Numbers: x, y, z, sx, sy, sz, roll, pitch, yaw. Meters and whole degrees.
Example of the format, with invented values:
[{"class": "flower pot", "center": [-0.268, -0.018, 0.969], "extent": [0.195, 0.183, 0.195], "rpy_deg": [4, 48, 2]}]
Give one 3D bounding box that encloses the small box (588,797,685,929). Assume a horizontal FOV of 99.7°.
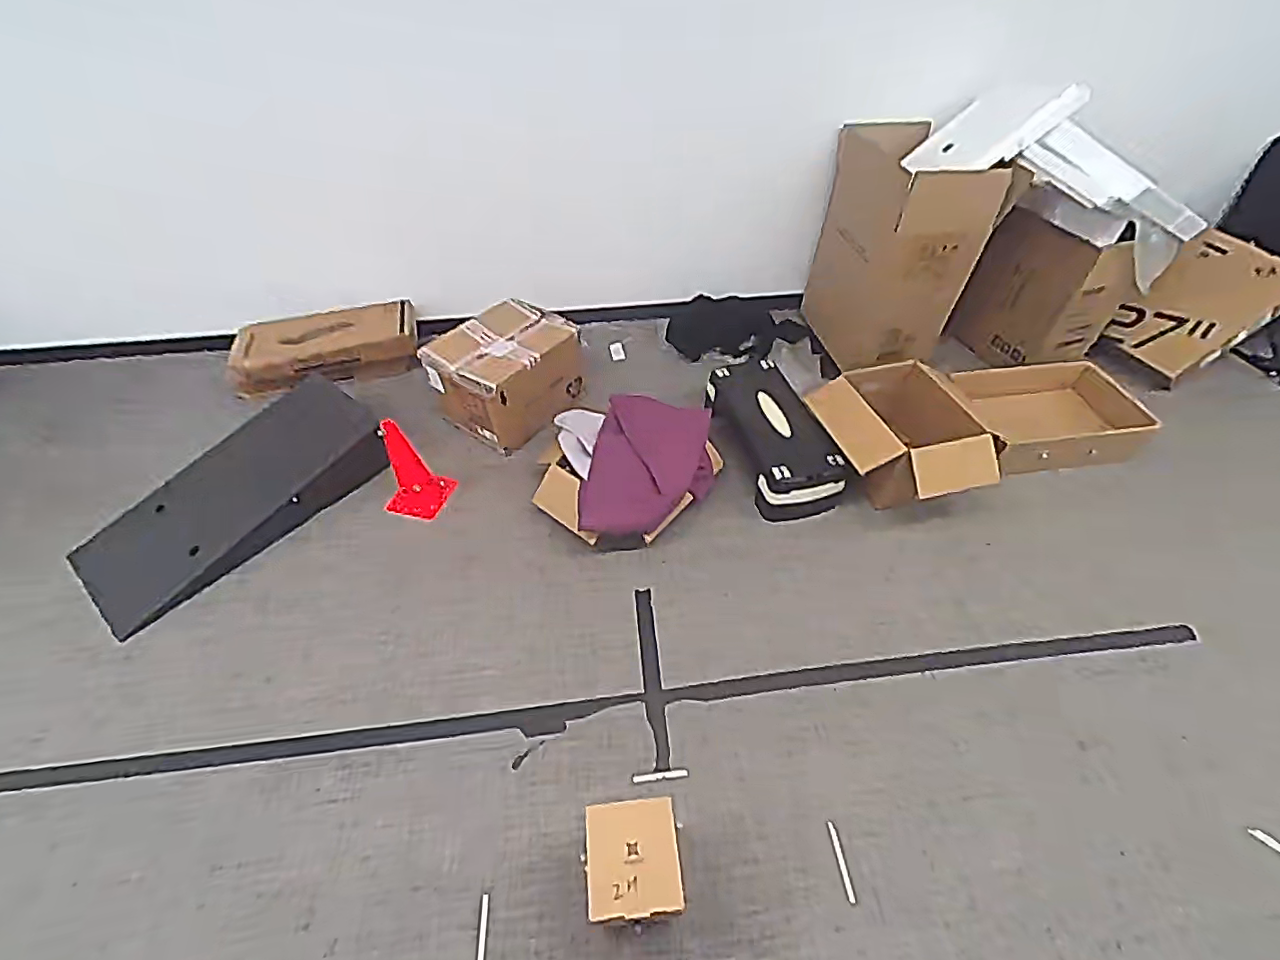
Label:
[{"class": "small box", "center": [-0.010, 0.727, 1.026], "extent": [0.168, 0.176, 0.179], "rpy_deg": [-5, 48, -2]}]
